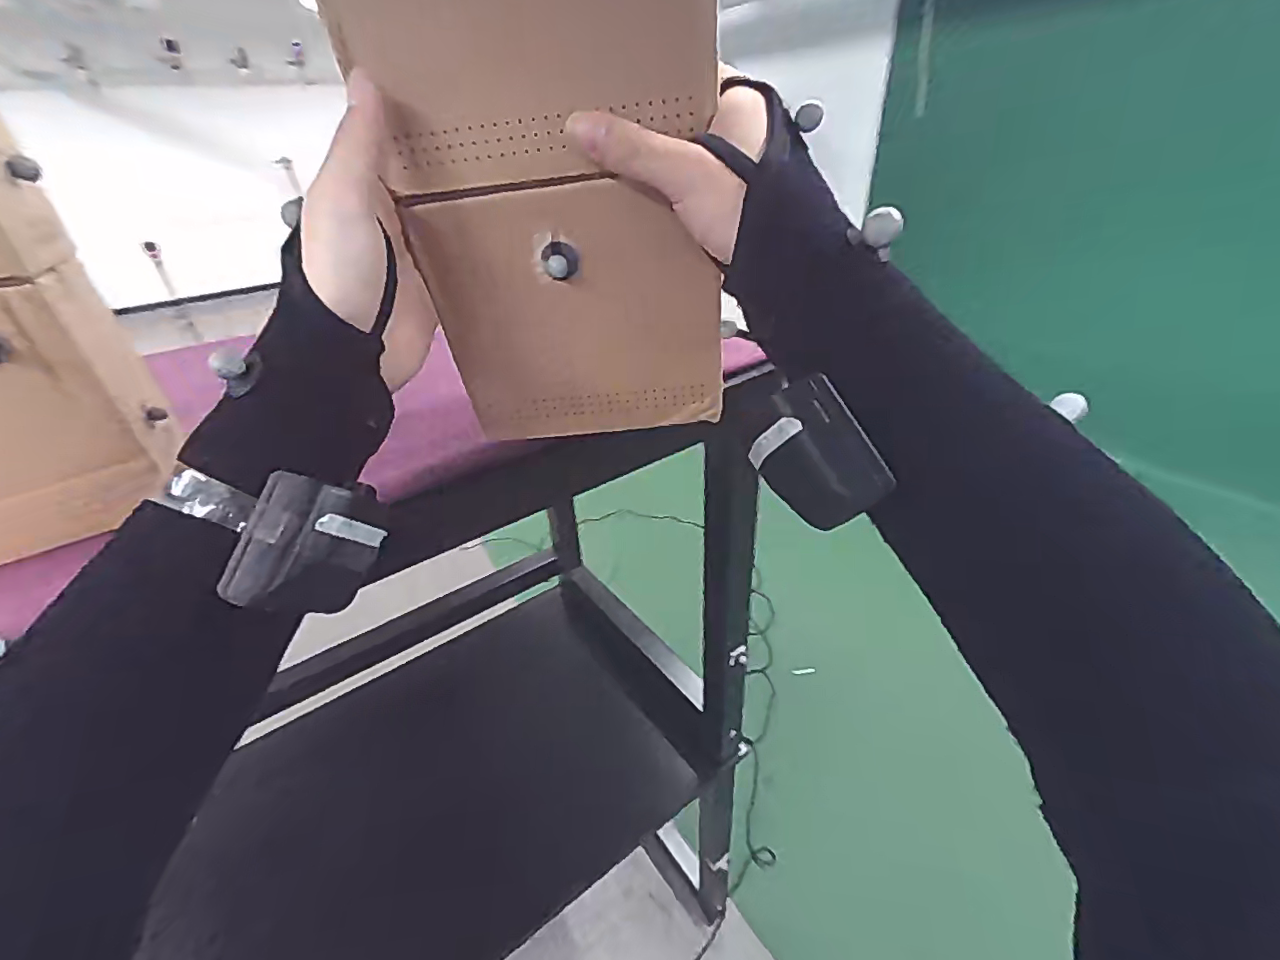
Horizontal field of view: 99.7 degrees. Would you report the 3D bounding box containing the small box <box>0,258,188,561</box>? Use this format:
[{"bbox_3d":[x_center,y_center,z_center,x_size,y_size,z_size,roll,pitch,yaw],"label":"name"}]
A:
[{"bbox_3d":[-0.461,-0.045,0.374,0.179,0.176,0.168,-24,37,-29],"label":"small box"}]

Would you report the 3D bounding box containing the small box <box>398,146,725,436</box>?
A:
[{"bbox_3d":[-0.033,-0.145,0.390,0.179,0.176,0.168,-3,42,5],"label":"small box"}]

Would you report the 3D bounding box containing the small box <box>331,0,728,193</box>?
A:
[{"bbox_3d":[-0.052,-0.265,0.281,0.179,0.176,0.168,-5,43,5],"label":"small box"}]

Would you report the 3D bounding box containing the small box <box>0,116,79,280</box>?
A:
[{"bbox_3d":[-0.472,-0.185,0.287,0.179,0.176,0.168,-23,37,-27],"label":"small box"}]
